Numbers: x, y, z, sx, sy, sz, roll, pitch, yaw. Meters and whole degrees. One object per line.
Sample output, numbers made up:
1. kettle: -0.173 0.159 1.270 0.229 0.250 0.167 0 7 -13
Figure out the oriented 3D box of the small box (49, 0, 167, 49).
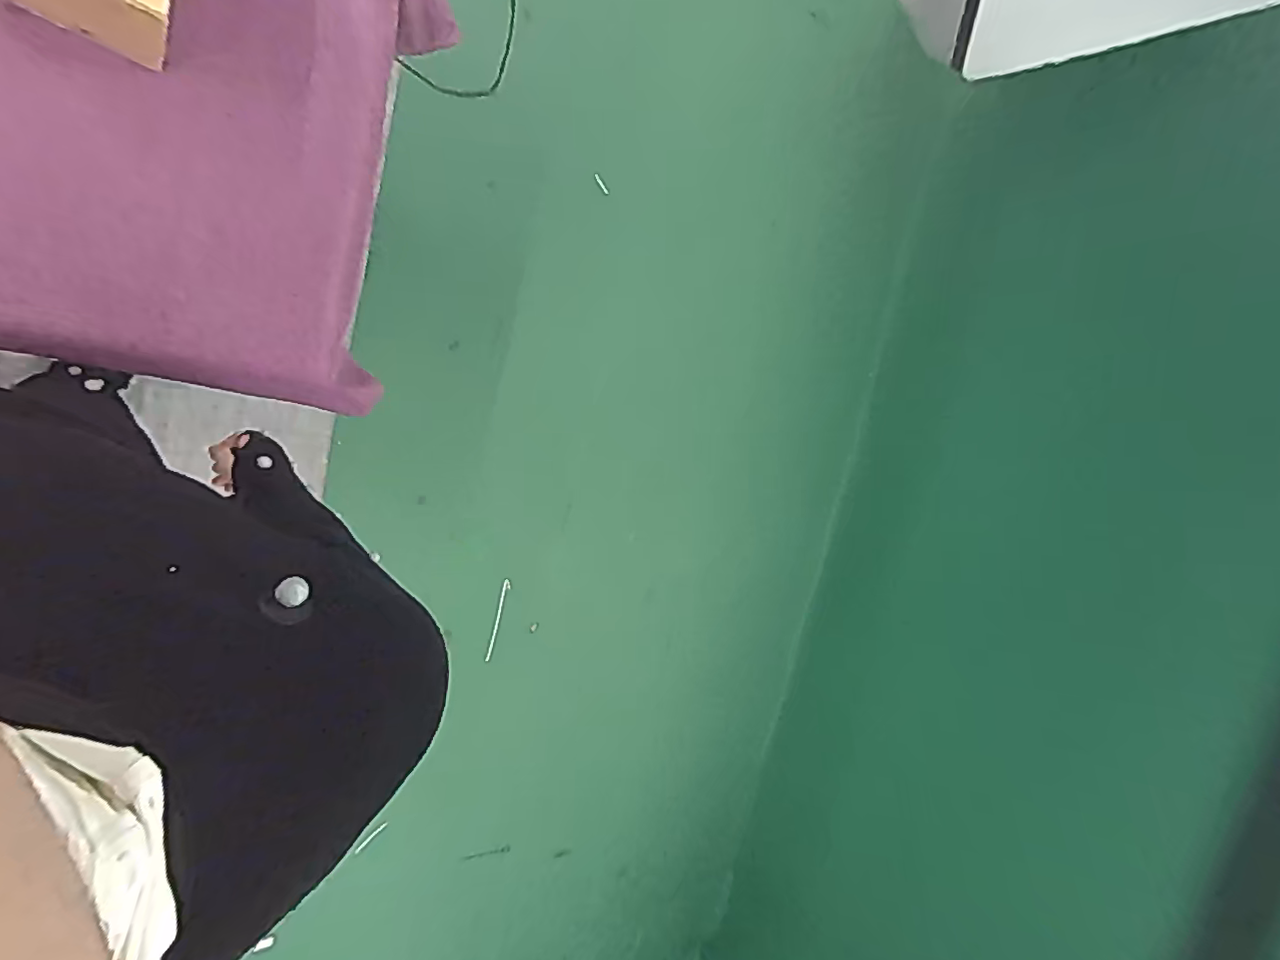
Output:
1. small box: -0.532 -0.548 0.490 0.168 0.176 0.179 8 98 -45
